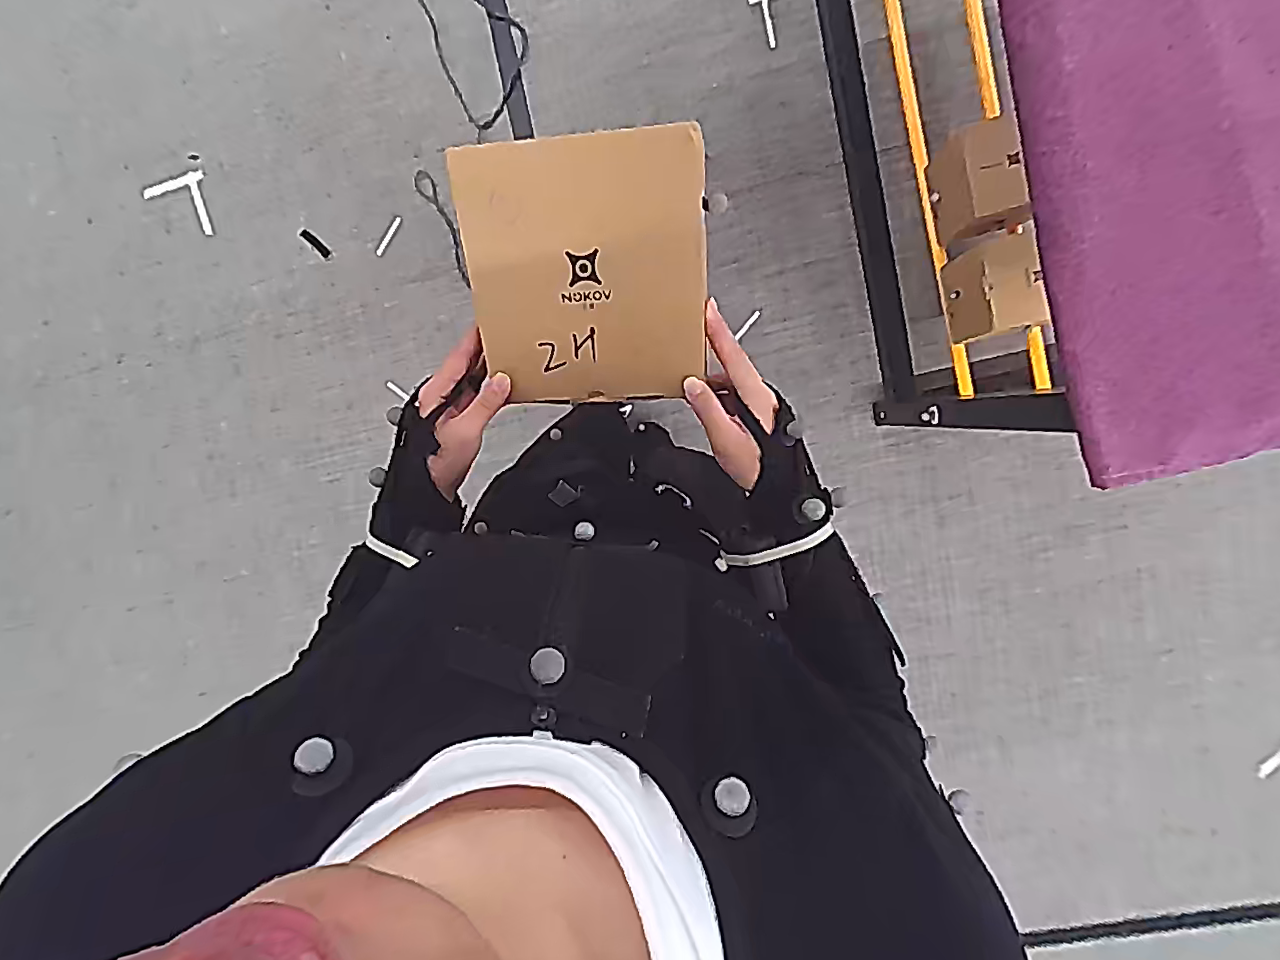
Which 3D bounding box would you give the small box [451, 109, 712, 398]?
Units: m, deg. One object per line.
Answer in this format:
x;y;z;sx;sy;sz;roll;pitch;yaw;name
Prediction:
-0.027;-0.174;0.437;0.168;0.176;0.179;0;115;8;small box

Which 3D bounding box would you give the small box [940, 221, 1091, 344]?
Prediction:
0.726;-0.376;1.061;0.179;0.176;0.168;-13;94;8;small box

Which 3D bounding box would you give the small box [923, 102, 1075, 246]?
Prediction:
0.682;-0.578;1.044;0.179;0.176;0.168;-13;94;8;small box
